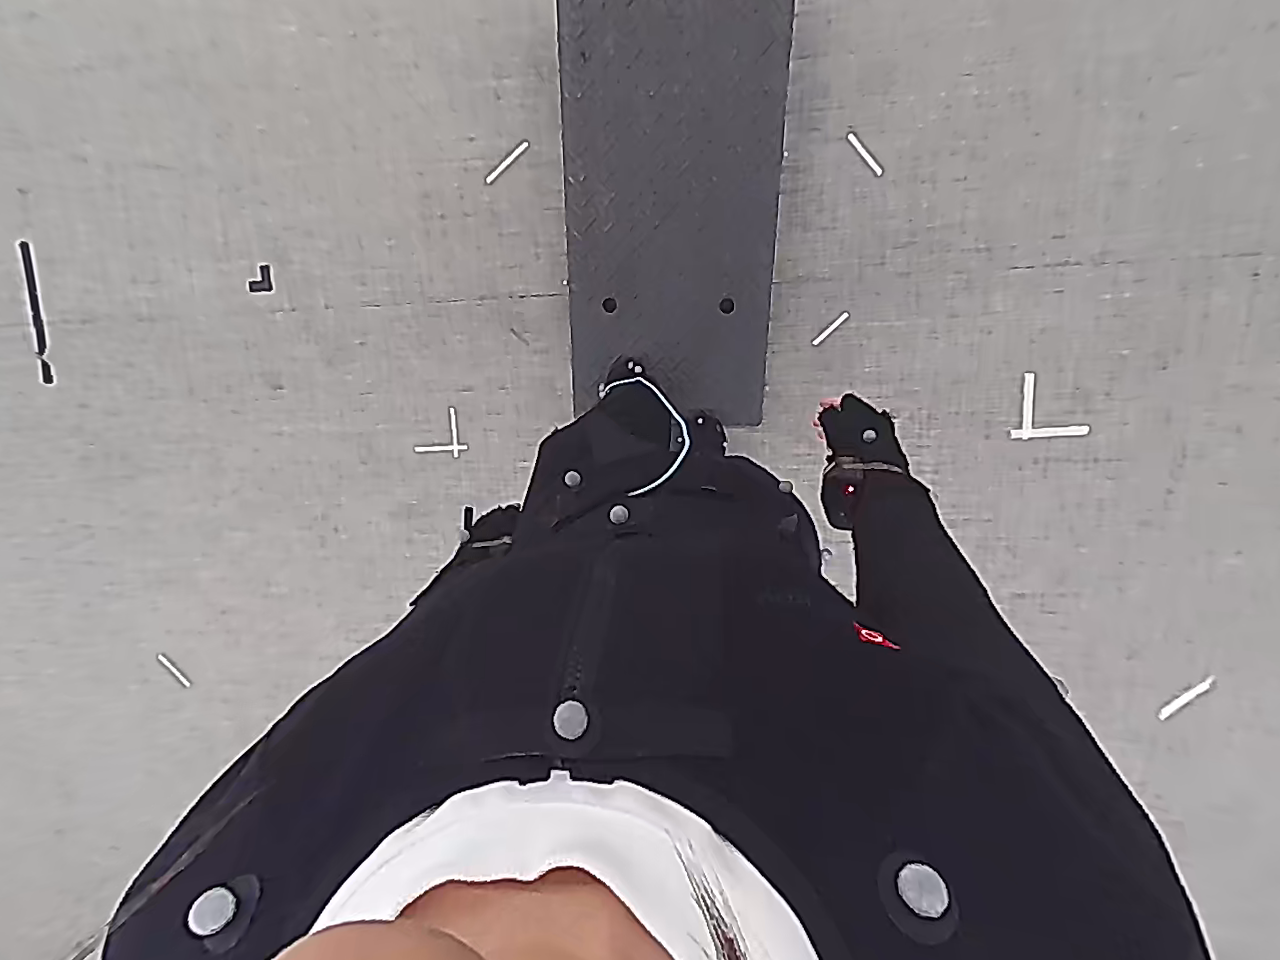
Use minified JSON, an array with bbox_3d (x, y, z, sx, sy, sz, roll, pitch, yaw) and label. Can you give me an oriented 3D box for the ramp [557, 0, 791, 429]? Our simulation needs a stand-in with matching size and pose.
[{"bbox_3d":[0.079,-0.605,1.263,0.509,0.206,0.991,-1,99,6],"label":"ramp"}]
